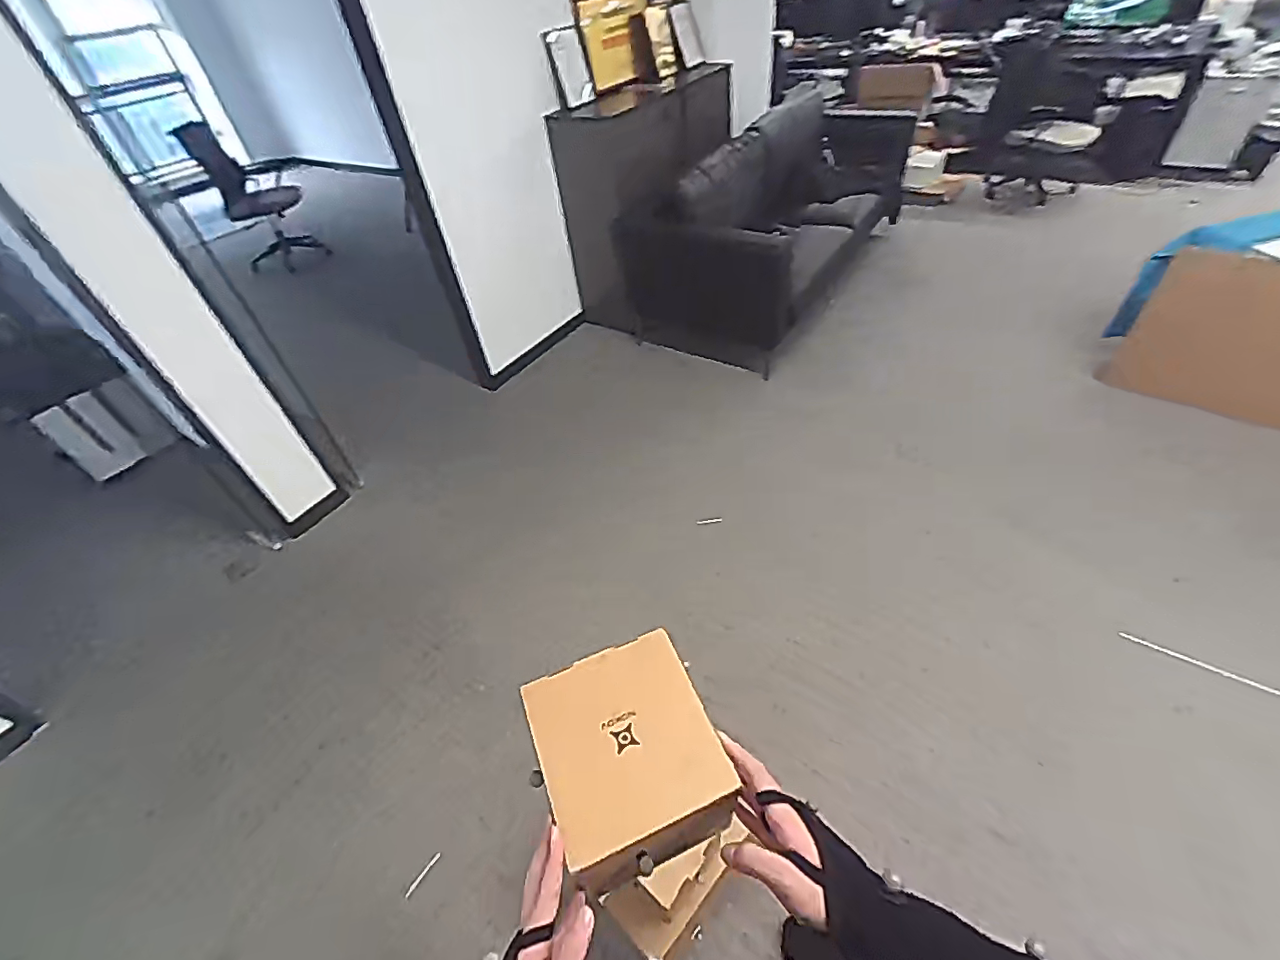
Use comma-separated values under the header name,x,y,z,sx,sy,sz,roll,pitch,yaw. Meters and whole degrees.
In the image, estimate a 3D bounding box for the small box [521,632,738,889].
name,x,y,z,sx,sy,sz,roll,pitch,yaw
small box,-0.011,0.301,0.574,0.168,0.176,0.179,-19,47,-13

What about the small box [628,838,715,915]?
name,x,y,z,sx,sy,sz,roll,pitch,yaw
small box,0.036,0.710,1.061,0.179,0.176,0.168,29,55,30
